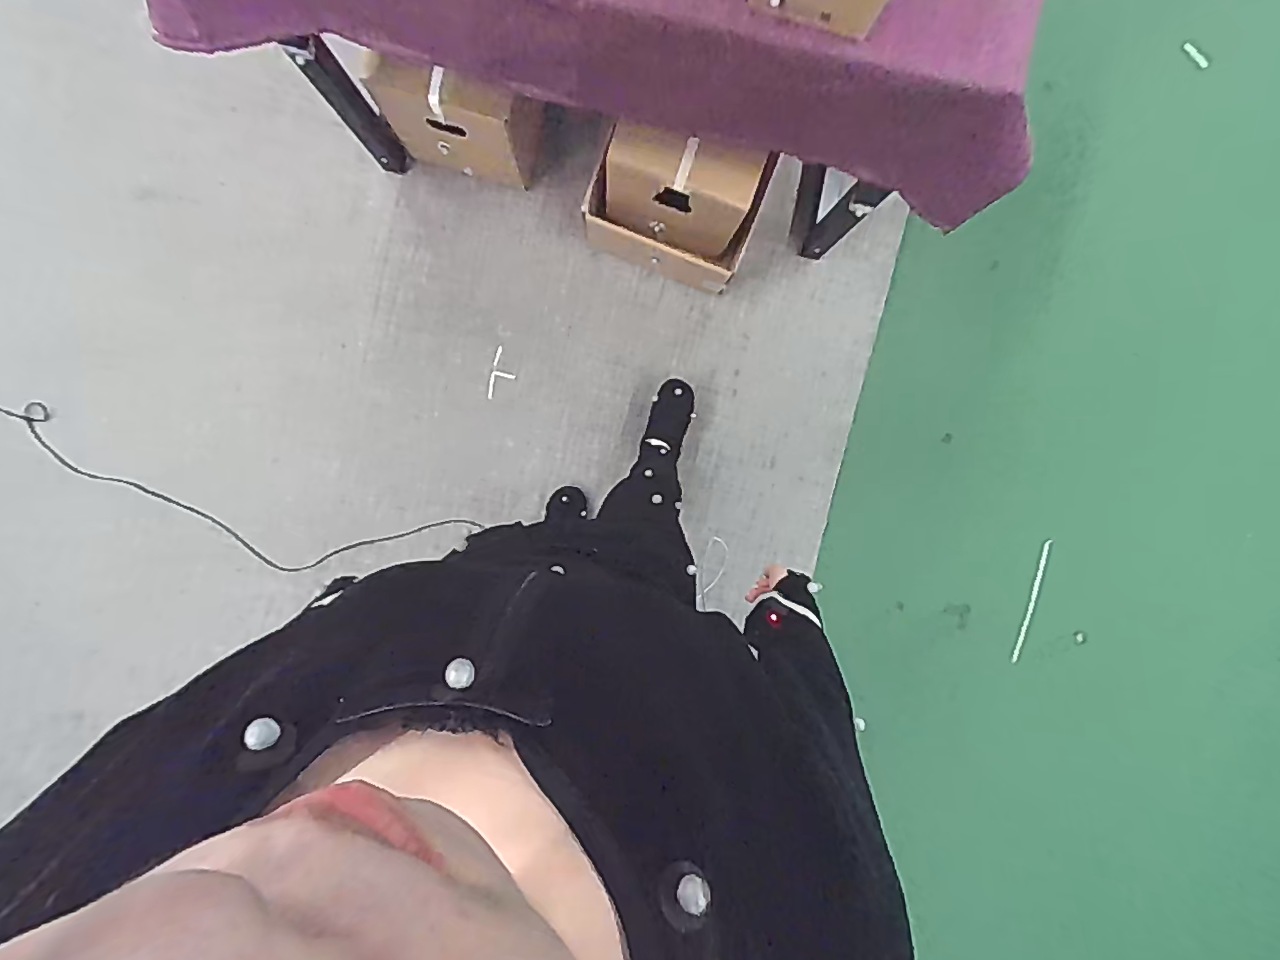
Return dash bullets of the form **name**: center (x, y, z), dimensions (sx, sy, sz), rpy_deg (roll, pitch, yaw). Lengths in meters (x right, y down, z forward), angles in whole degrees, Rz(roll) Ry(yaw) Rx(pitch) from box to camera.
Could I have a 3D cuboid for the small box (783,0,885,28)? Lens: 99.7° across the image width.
- **small box**: center (0.254, -0.699, 0.641), dimensions (0.168, 0.176, 0.179), rpy_deg (14, 92, -4)
